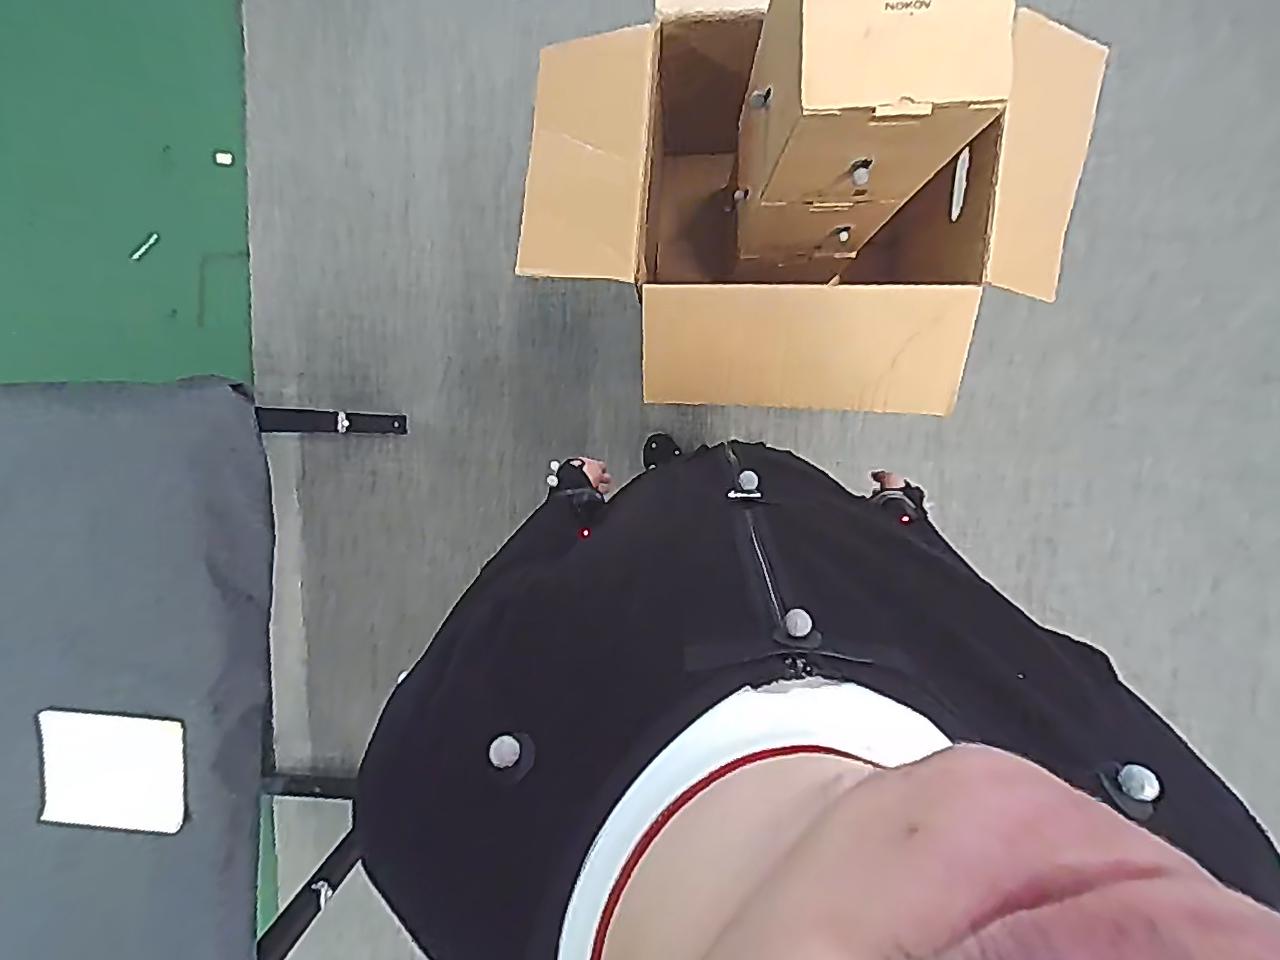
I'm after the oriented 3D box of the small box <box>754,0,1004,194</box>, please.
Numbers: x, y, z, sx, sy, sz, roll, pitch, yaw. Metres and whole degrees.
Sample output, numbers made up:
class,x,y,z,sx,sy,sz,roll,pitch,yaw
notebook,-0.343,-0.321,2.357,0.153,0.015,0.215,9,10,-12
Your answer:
class,x,y,z,sx,sy,sz,roll,pitch,yaw
small box,0.206,-0.388,0.507,0.168,0.176,0.179,-1,95,1
